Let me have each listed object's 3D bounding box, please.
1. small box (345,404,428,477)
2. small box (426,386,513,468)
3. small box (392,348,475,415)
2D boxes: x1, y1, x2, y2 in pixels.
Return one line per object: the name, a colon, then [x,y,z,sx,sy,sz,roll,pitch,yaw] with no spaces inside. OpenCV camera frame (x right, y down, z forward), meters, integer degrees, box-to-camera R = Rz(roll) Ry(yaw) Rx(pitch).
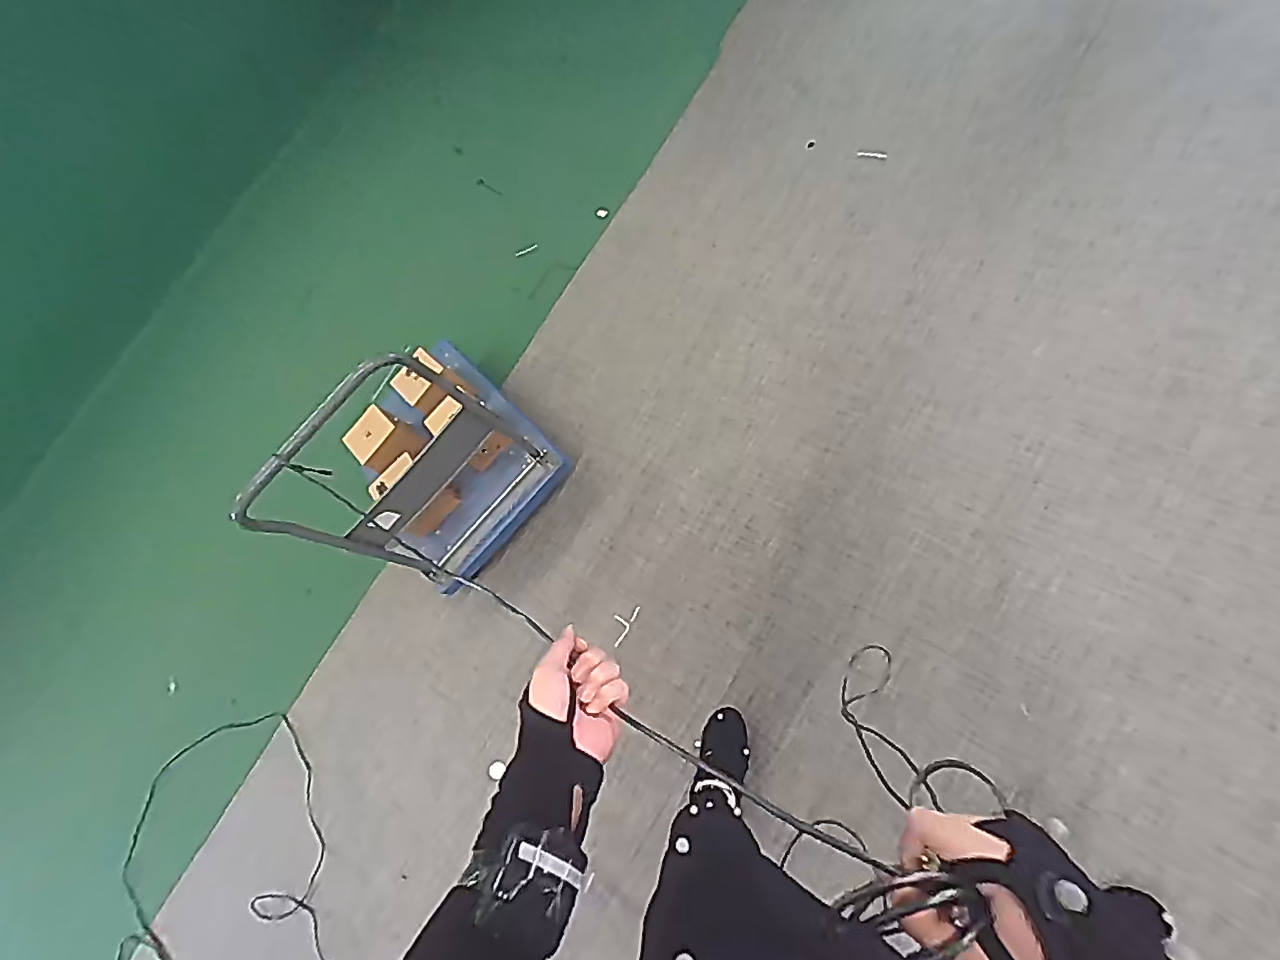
small box: [-0.879,-0.129,1.888,0.179,0.176,0.168,39,88,31]
small box: [-0.550,-0.166,1.754,0.168,0.176,0.179,-46,59,1]
small box: [-0.720,-0.324,1.893,0.179,0.176,0.168,39,89,31]
